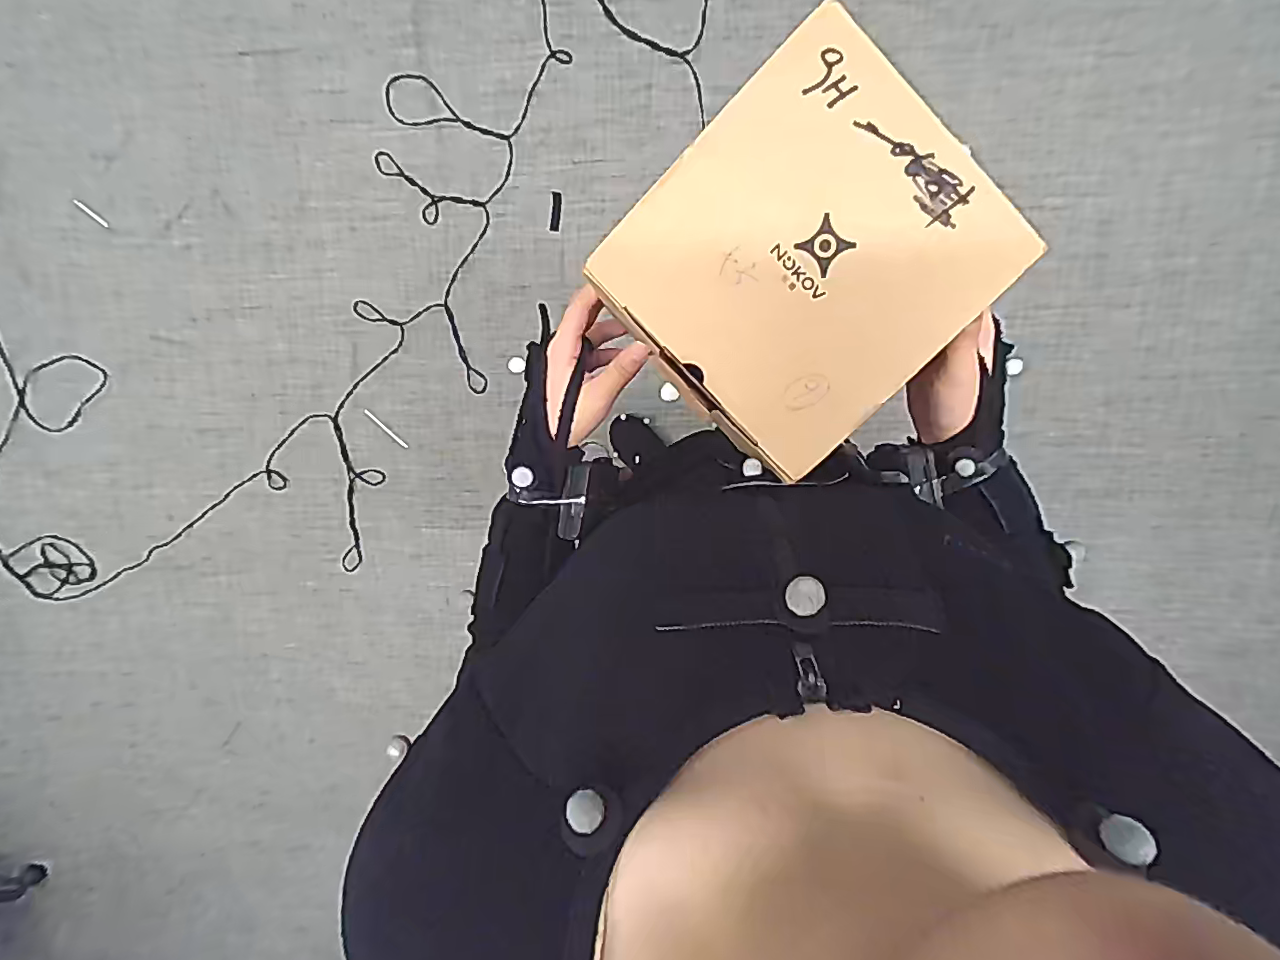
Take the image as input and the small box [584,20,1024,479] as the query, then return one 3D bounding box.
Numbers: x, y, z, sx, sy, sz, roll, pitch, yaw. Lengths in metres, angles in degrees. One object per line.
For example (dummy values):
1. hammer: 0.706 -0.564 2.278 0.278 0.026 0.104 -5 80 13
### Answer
1. small box: 0.090 -0.127 0.366 0.168 0.176 0.179 45 99 -5
